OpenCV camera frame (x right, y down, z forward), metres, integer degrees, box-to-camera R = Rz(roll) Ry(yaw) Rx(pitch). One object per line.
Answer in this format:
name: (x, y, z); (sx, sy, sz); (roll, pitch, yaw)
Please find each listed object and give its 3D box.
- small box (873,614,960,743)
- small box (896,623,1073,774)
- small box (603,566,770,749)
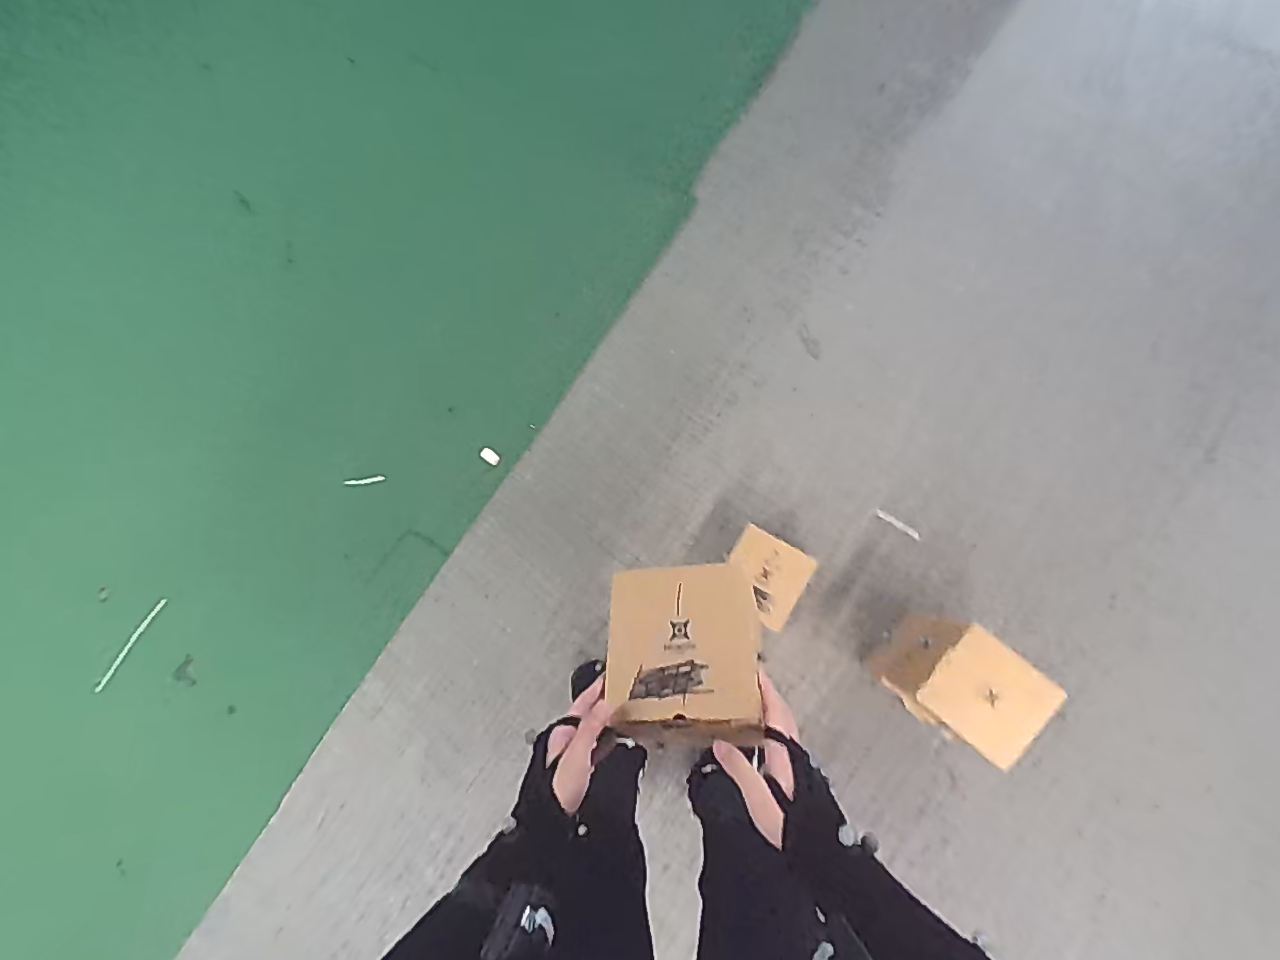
small box: (0.615, 0.403, 1.130); (0.168, 0.176, 0.179); (41, 90, 13)
small box: (0.600, 0.375, 0.970); (0.179, 0.176, 0.168); (39, 89, 14)
small box: (0.063, 0.224, 0.659); (0.168, 0.176, 0.179); (-8, 55, 13)
